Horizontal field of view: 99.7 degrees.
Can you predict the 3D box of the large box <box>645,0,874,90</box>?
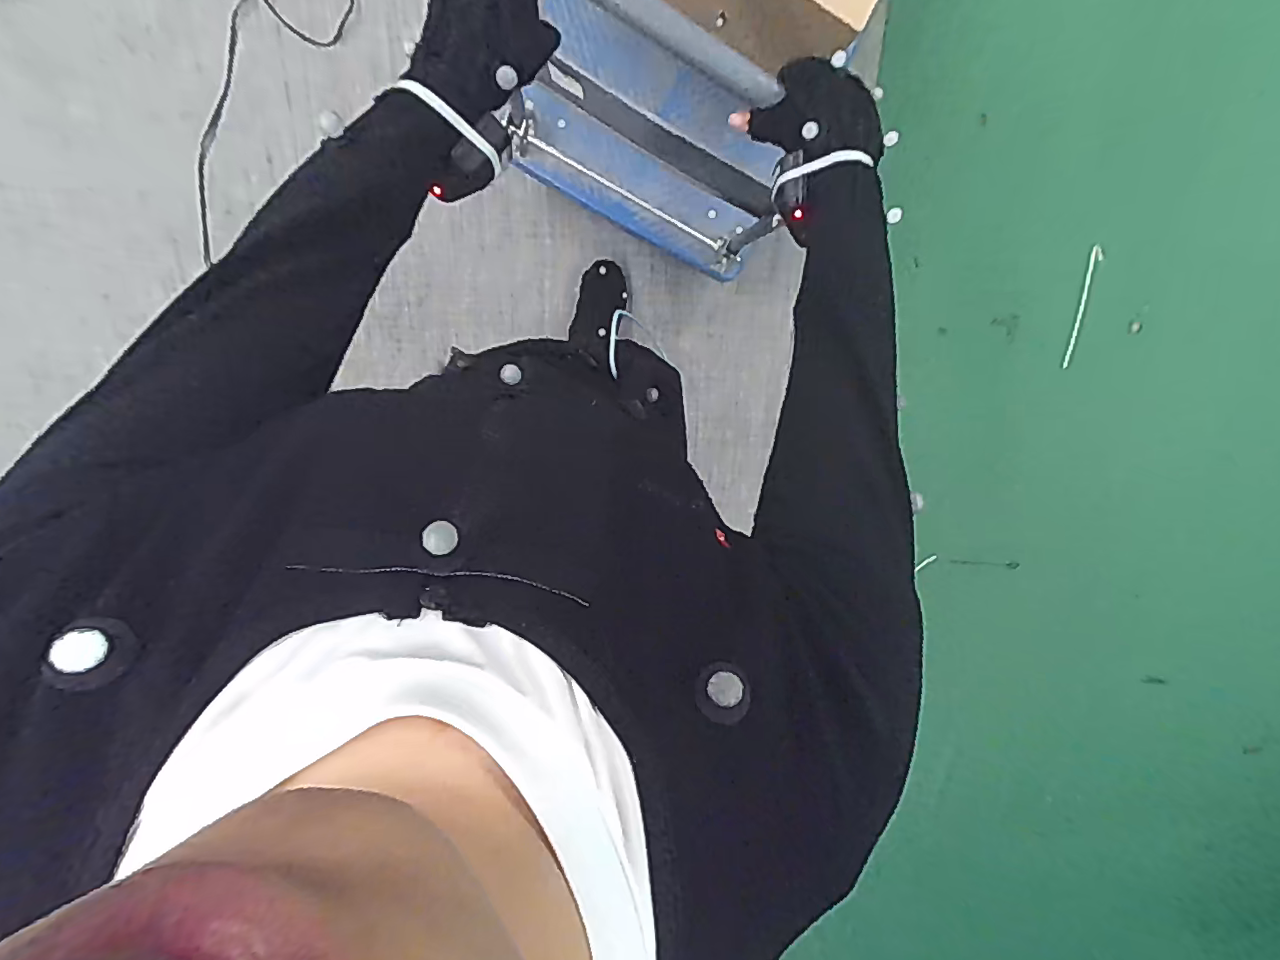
[{"bbox_3d":[0.216,-0.949,0.890,0.408,0.320,0.320,24,104,-11],"label":"large box"}]
